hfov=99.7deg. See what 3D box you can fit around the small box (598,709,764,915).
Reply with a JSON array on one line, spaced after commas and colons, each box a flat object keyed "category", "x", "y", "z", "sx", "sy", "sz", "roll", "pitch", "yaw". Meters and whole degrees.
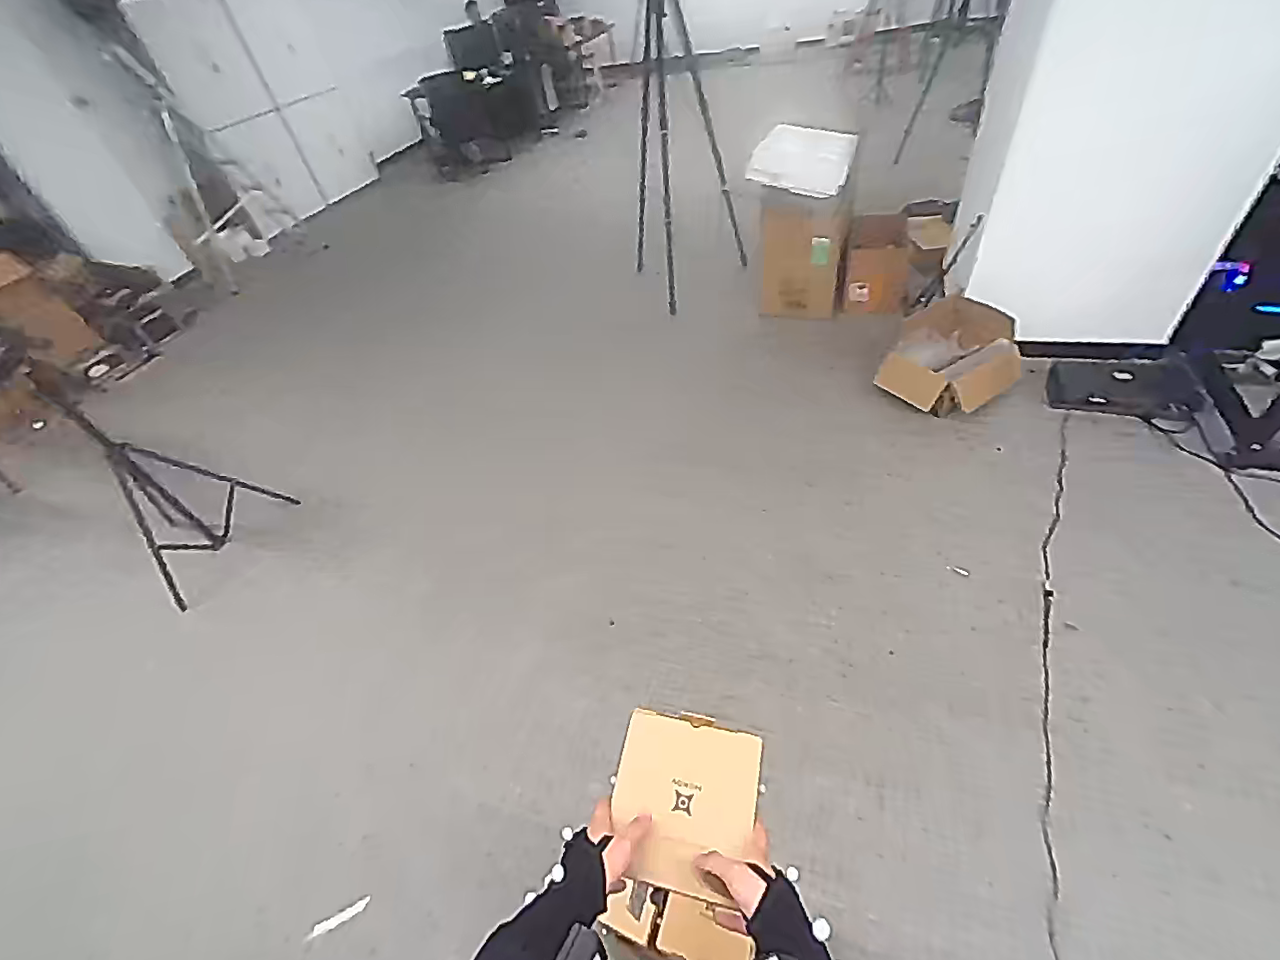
[{"category": "small box", "x": 0.056, "y": 0.420, "z": 0.686, "sx": 0.168, "sy": 0.176, "sz": 0.179, "roll": 9, "pitch": 53, "yaw": 12}]
